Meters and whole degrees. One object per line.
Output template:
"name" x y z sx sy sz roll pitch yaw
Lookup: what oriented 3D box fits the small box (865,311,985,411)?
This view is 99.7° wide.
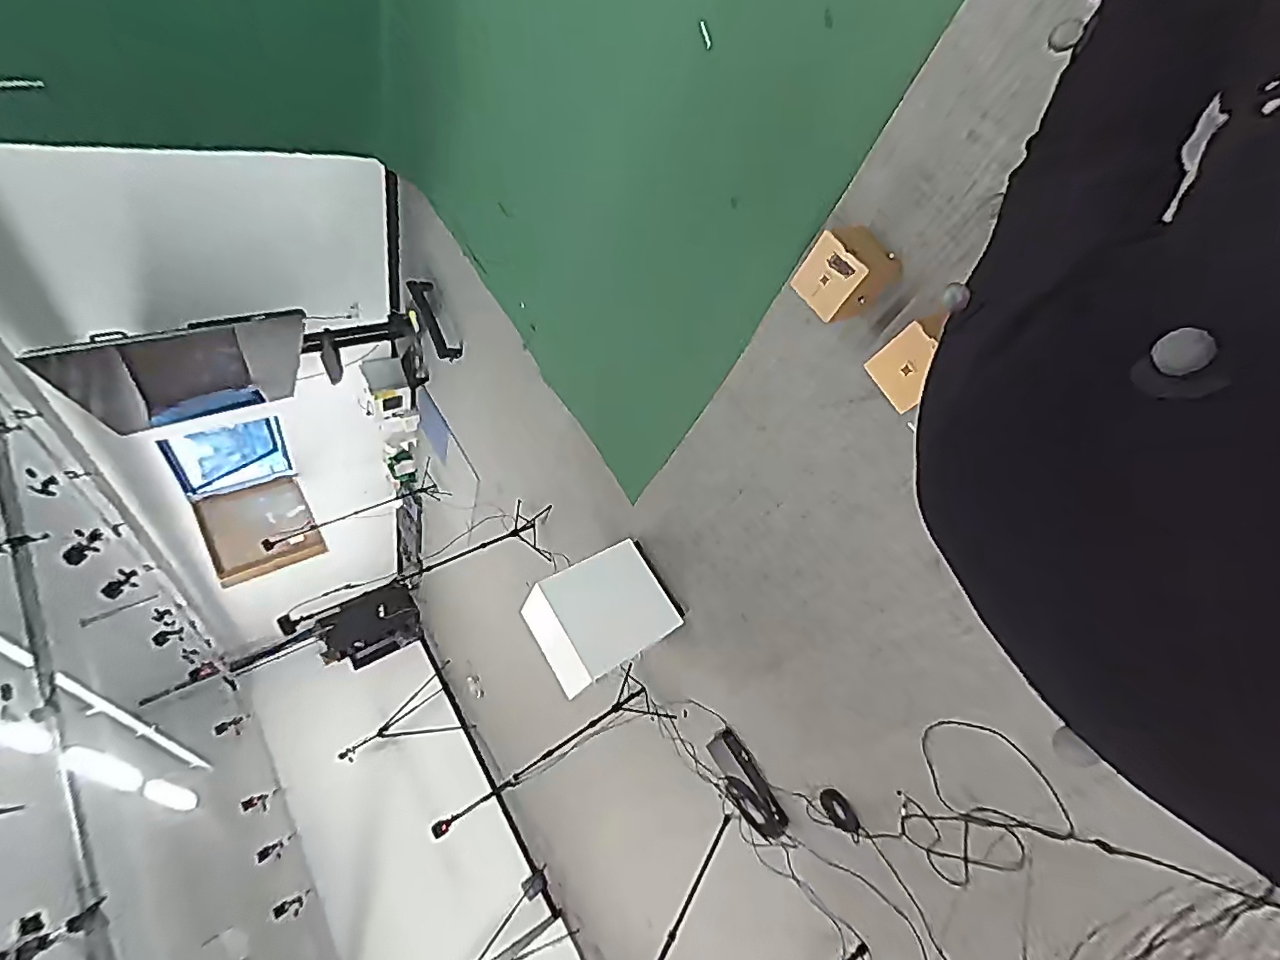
"small box" 0.721 -0.302 1.370 0.168 0.176 0.179 59 144 14

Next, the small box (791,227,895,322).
"small box" 0.553 -0.559 1.458 0.168 0.176 0.179 55 144 18
